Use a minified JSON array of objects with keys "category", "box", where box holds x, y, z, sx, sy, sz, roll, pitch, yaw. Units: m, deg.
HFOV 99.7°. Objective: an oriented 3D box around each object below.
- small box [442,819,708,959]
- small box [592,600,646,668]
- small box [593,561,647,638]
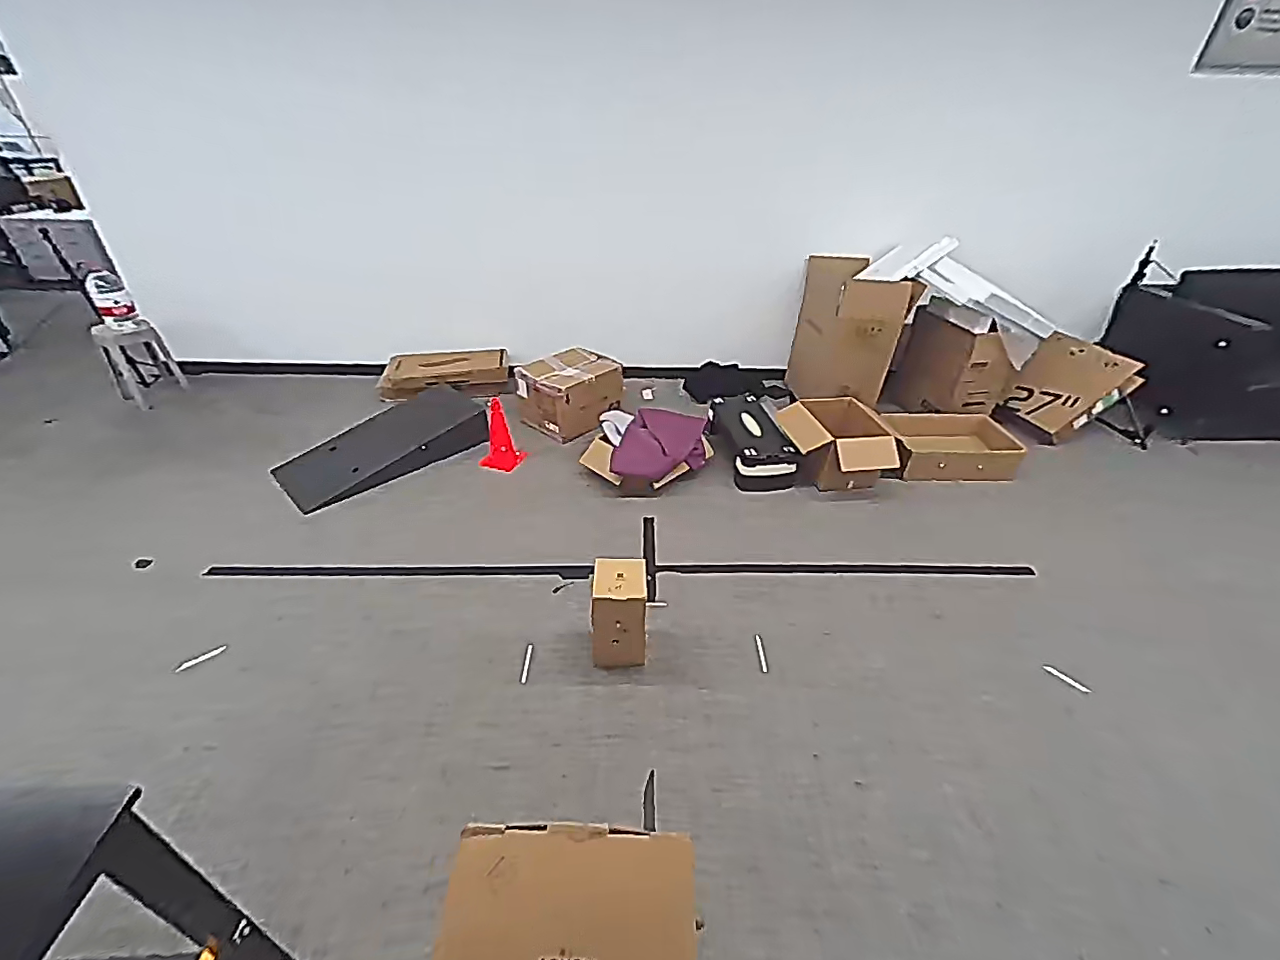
[{"category":"small box","box":[-0.043,0.359,0.378,0.168,0.176,0.179,3,49,0]},{"category":"small box","box":[-0.072,0.517,1.826,0.179,0.176,0.168,-1,34,-4]},{"category":"small box","box":[-0.063,0.380,1.734,0.168,0.176,0.179,1,34,-1]}]
